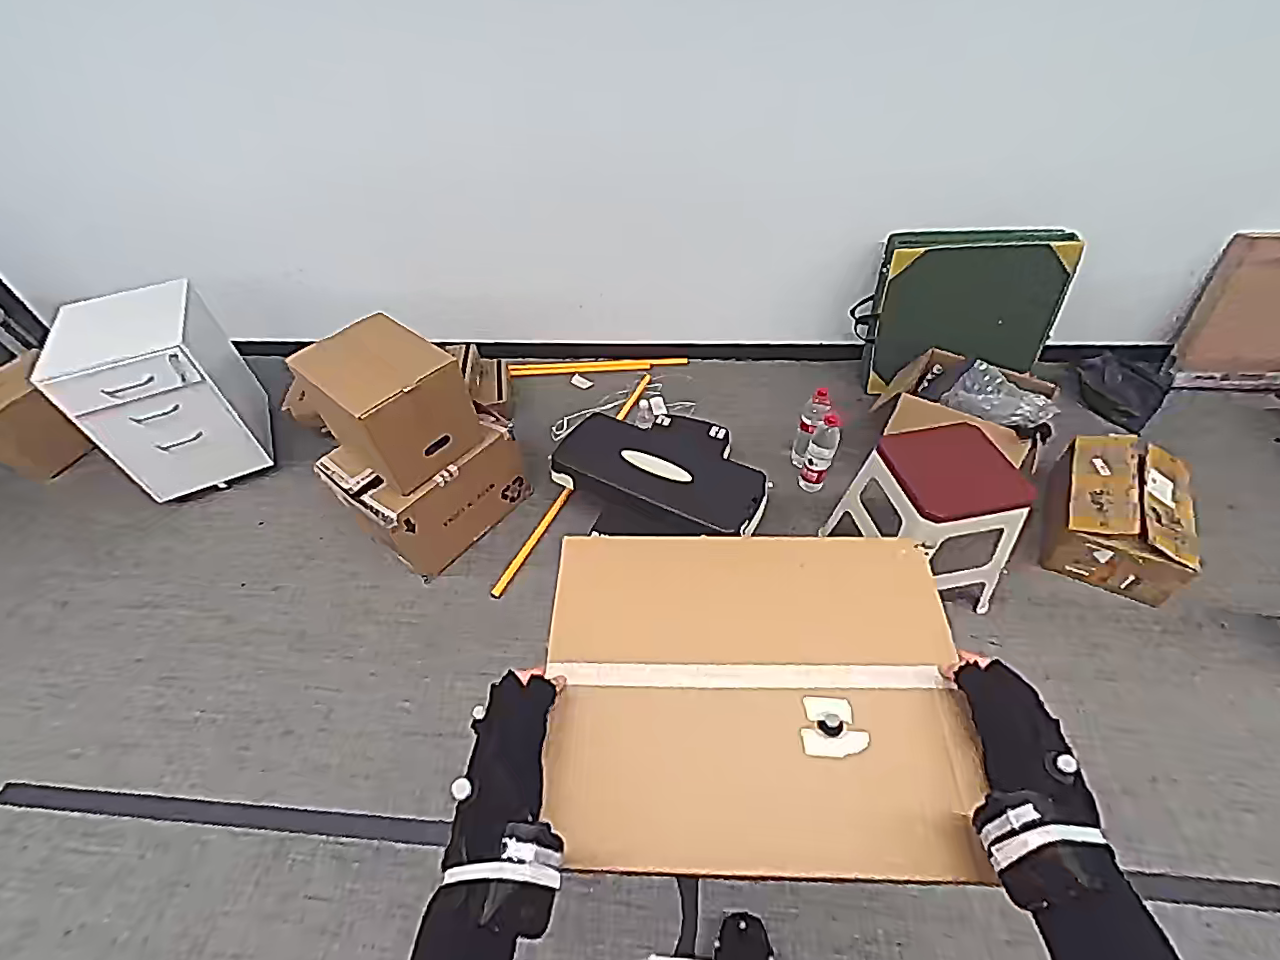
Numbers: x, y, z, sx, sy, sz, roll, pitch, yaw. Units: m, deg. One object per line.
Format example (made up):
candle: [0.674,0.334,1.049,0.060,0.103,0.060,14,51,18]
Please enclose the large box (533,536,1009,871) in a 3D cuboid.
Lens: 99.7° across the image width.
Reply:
large box: [0.111,0.278,0.654,0.408,0.320,0.320,0,54,3]
